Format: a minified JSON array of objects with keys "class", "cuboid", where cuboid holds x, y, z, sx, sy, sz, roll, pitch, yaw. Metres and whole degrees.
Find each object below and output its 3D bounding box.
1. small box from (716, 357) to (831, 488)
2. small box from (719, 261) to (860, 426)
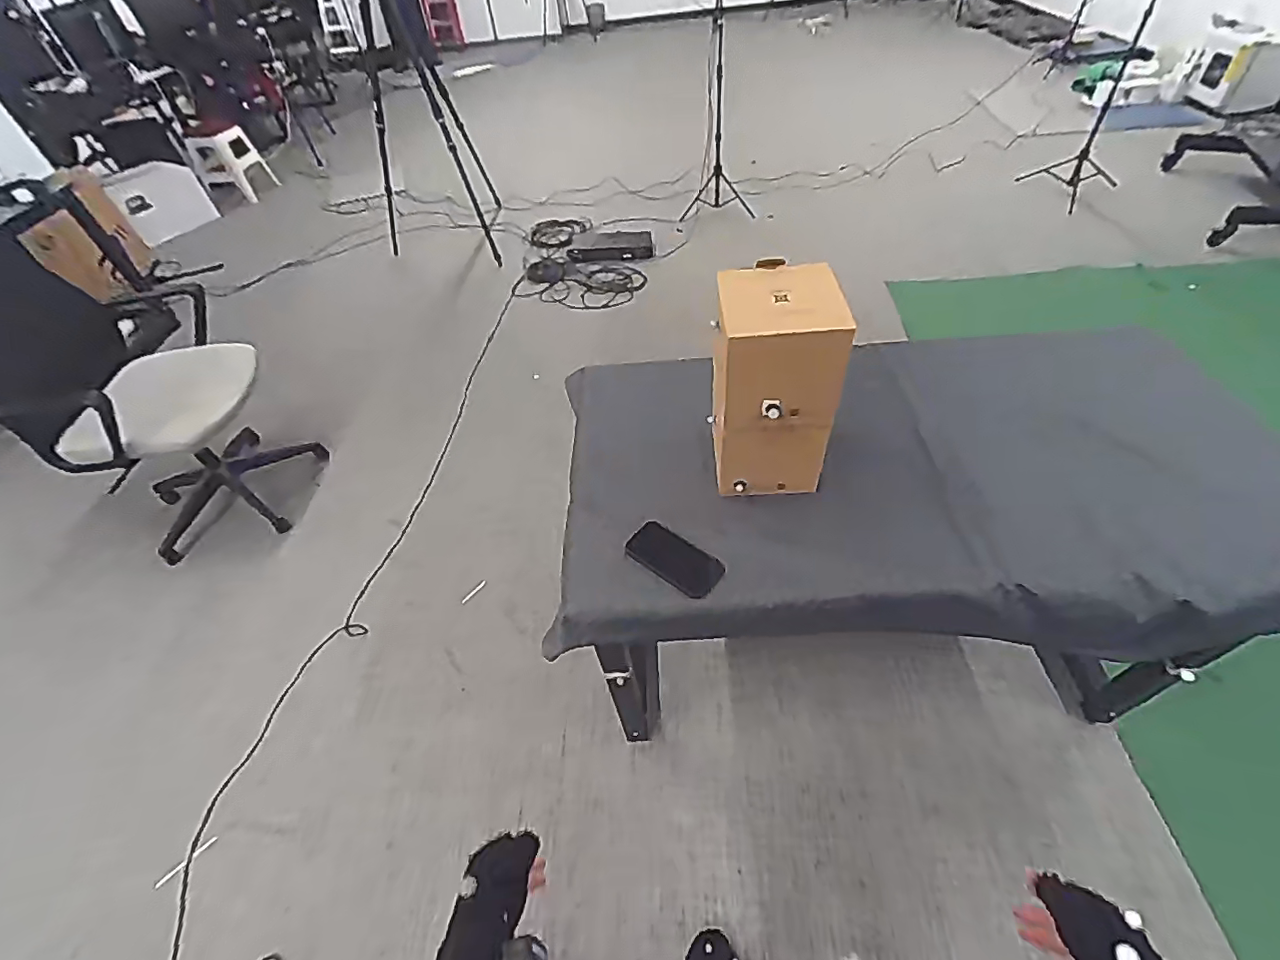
[{"class":"small box","cuboid":[0.218,-0.098,0.929,0.168,0.176,0.179,-2,48,4]},{"class":"small box","cuboid":[0.206,-0.200,0.804,0.168,0.176,0.179,-3,50,5]}]
